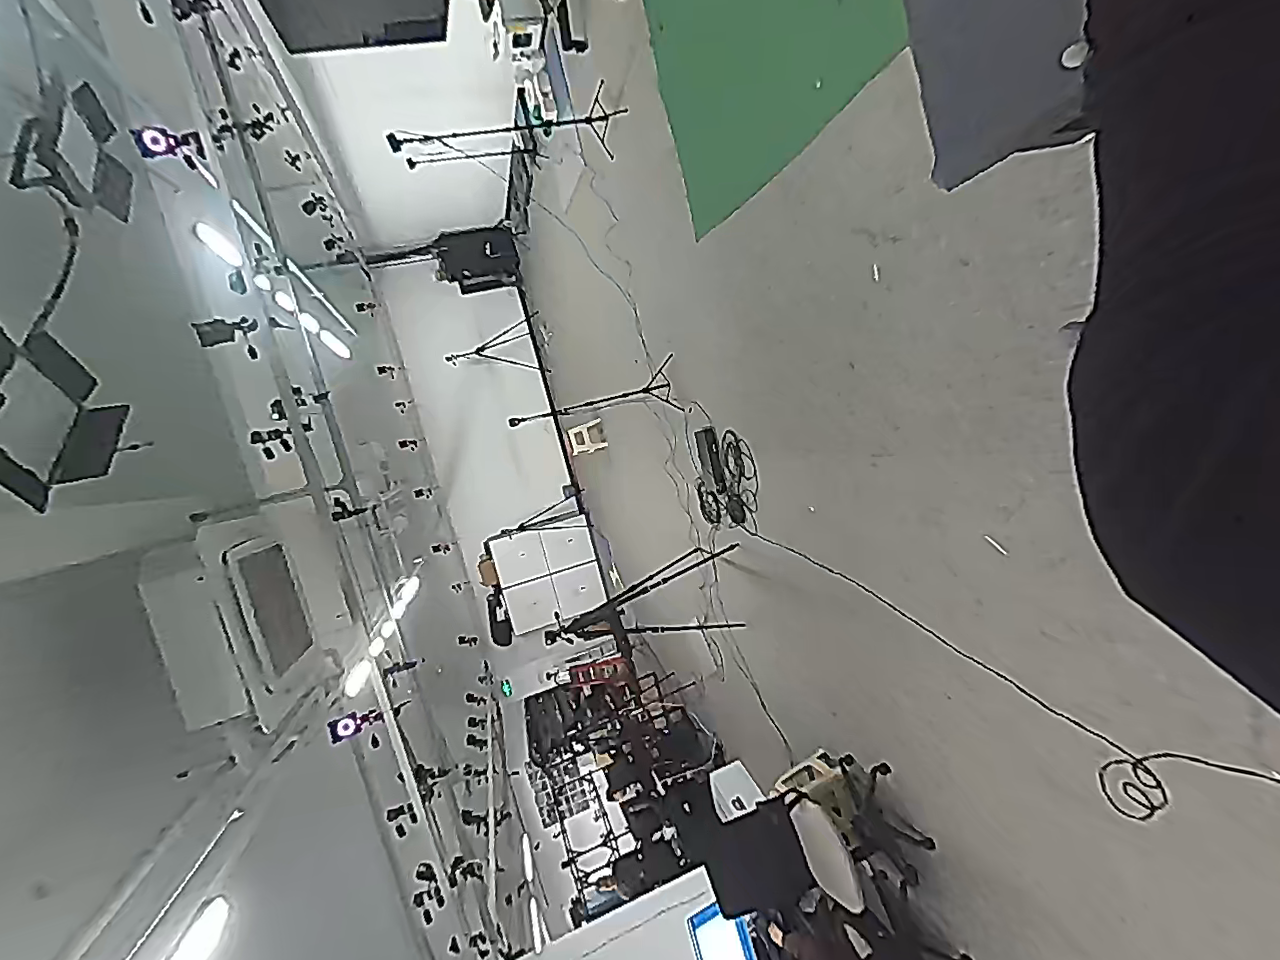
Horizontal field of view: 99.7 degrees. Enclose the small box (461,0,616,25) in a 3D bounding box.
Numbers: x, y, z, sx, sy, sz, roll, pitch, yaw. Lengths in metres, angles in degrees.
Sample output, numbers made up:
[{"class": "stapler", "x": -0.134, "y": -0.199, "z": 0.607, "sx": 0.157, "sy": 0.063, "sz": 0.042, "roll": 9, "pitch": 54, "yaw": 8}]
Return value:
[{"class": "small box", "x": -0.057, "y": -0.450, "z": 0.345, "sx": 0.168, "sy": 0.176, "sz": 0.179, "roll": 176, "pitch": 78, "yaw": -76}]
